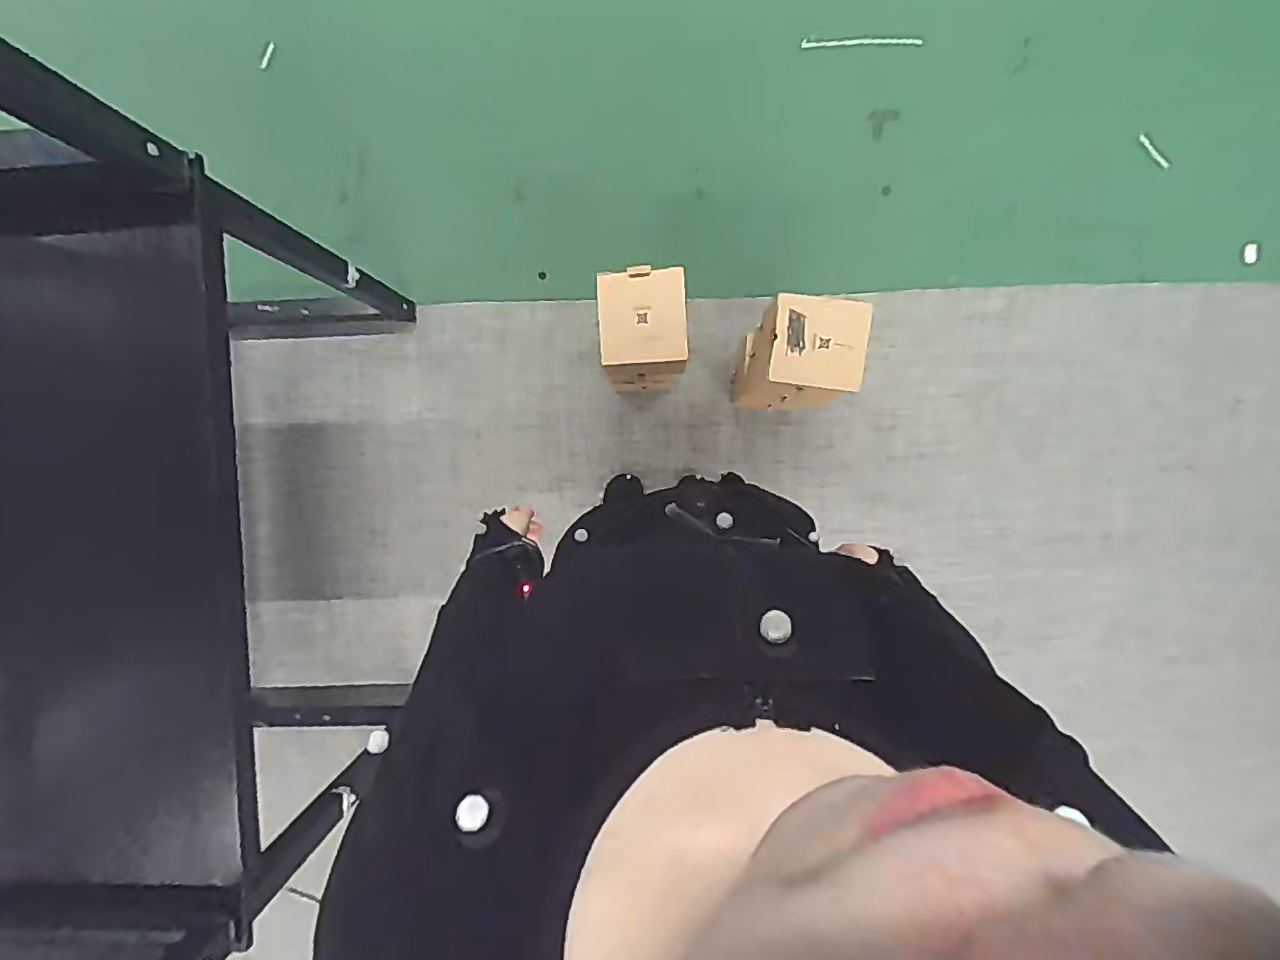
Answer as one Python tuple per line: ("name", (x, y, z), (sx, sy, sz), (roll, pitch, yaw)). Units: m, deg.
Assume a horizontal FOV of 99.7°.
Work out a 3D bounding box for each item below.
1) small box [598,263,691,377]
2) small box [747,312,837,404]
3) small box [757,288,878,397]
("small box", (0.012, -0.308, 1.071), (0.168, 0.176, 0.179), (-4, 93, 4))
("small box", (0.349, -0.269, 1.220), (0.179, 0.176, 0.168), (10, 94, 1))
("small box", (0.335, -0.259, 1.057), (0.179, 0.176, 0.168), (8, 94, 1))
